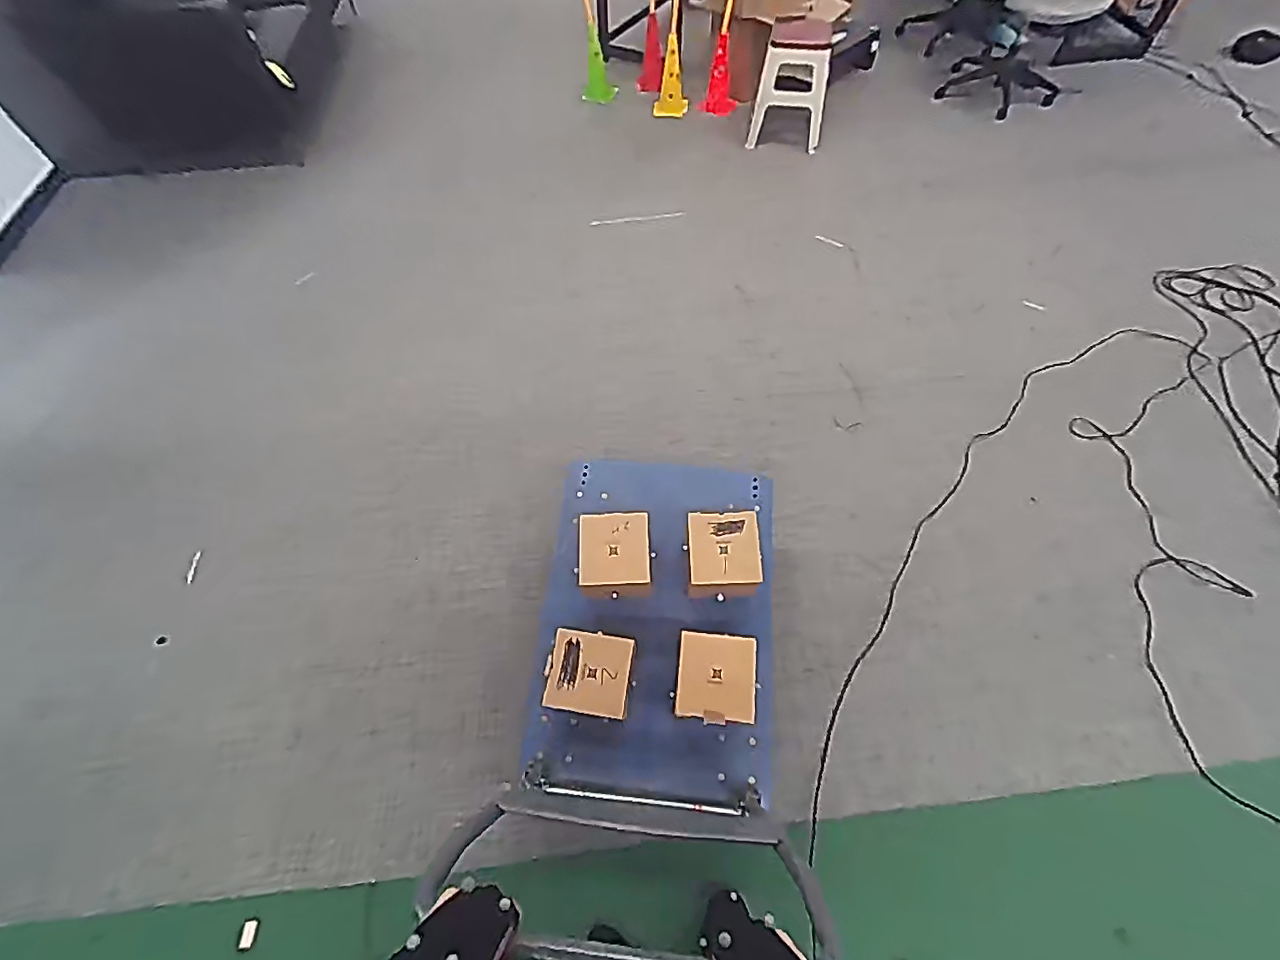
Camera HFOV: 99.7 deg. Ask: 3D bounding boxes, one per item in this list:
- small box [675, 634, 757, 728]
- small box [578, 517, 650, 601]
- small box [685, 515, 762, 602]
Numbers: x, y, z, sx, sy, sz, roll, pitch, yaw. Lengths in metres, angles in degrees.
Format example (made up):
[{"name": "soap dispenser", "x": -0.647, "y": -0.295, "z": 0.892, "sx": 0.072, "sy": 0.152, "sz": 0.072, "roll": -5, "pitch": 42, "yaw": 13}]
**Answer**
[{"name": "small box", "x": 0.168, "y": 0.459, "z": 1.229, "sx": 0.168, "sy": 0.176, "sz": 0.179, "roll": 4, "pitch": 67, "yaw": 4}, {"name": "small box", "x": -0.060, "y": 0.202, "z": 1.348, "sx": 0.168, "sy": 0.176, "sz": 0.179, "roll": -2, "pitch": 66, "yaw": 0}, {"name": "small box", "x": 0.200, "y": 0.198, "z": 1.341, "sx": 0.168, "sy": 0.176, "sz": 0.179, "roll": -2, "pitch": 67, "yaw": 2}]
